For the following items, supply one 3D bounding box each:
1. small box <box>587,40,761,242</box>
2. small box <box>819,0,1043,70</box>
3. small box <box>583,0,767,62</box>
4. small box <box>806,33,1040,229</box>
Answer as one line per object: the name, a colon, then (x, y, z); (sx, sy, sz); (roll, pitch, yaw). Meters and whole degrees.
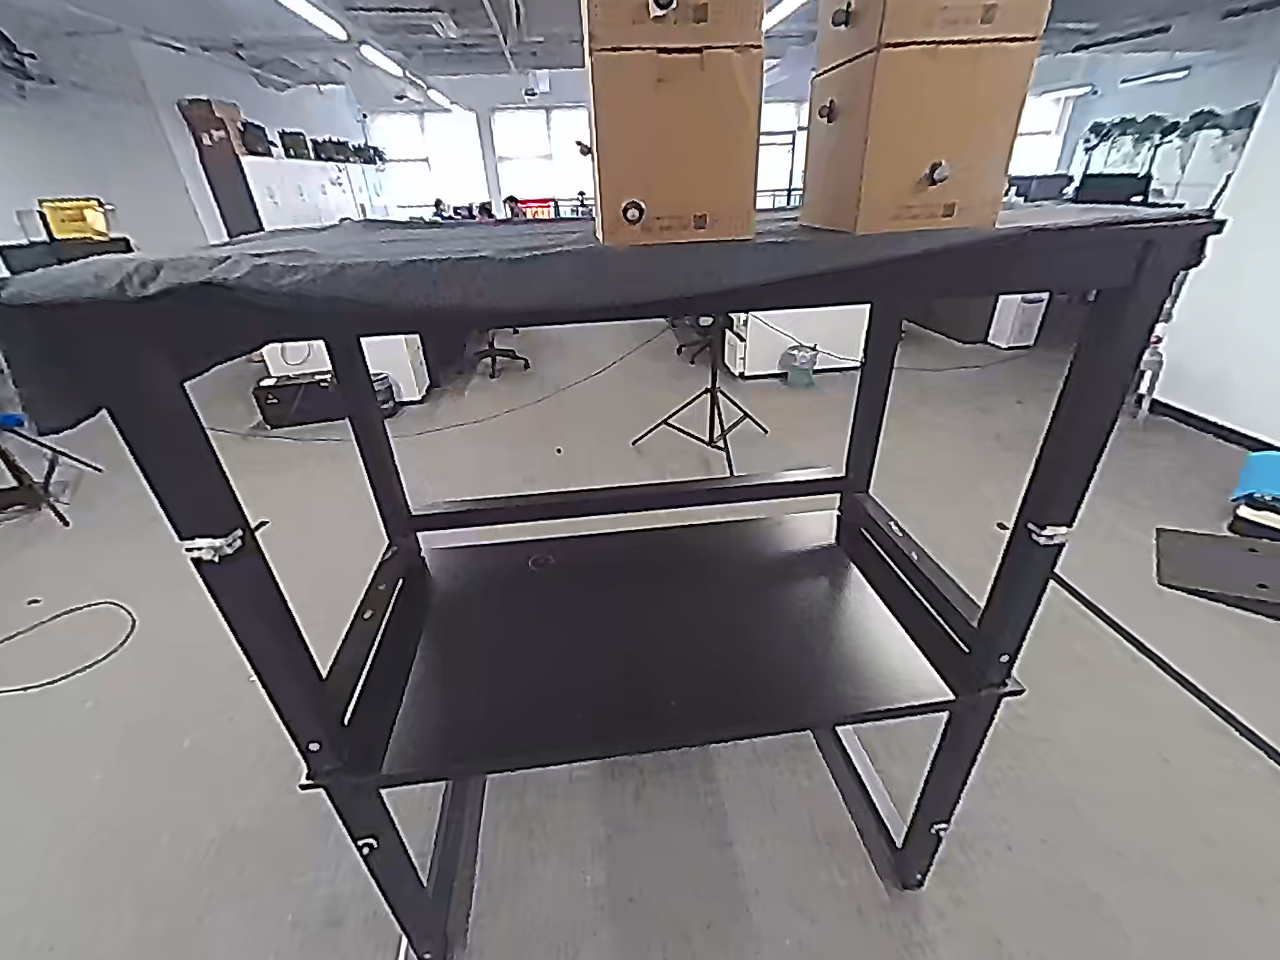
small box: (0.031, -0.364, 0.607); (0.168, 0.176, 0.179); (-5, 27, -5)
small box: (0.297, -0.534, 0.551); (0.168, 0.176, 0.179); (-4, 29, -3)
small box: (0.025, -0.508, 0.533); (0.168, 0.176, 0.179); (-6, 29, -3)
small box: (0.304, -0.390, 0.629); (0.168, 0.176, 0.179); (-6, 29, -3)
